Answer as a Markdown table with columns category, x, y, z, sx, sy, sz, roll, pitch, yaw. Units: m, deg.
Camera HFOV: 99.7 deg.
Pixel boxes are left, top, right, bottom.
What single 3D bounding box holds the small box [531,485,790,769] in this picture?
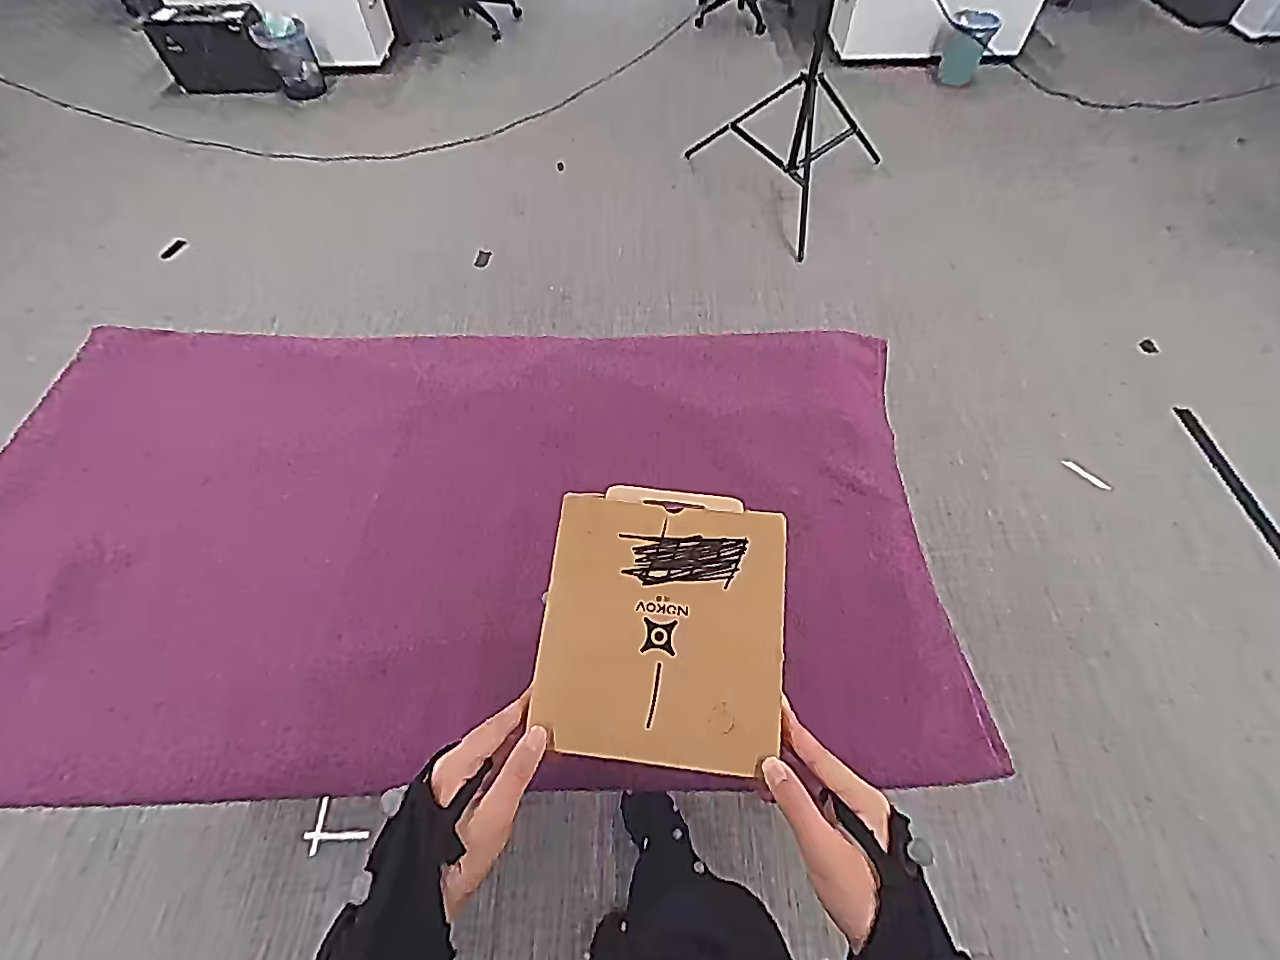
| category | x | y | z | sx | sy | sz | roll | pitch | yaw |
| --- | --- | --- | --- | --- | --- | --- | --- | --- | --- |
| small box | 0.022 | 0.120 | 0.447 | 0.168 | 0.176 | 0.179 | 5 | 70 | 5 |
